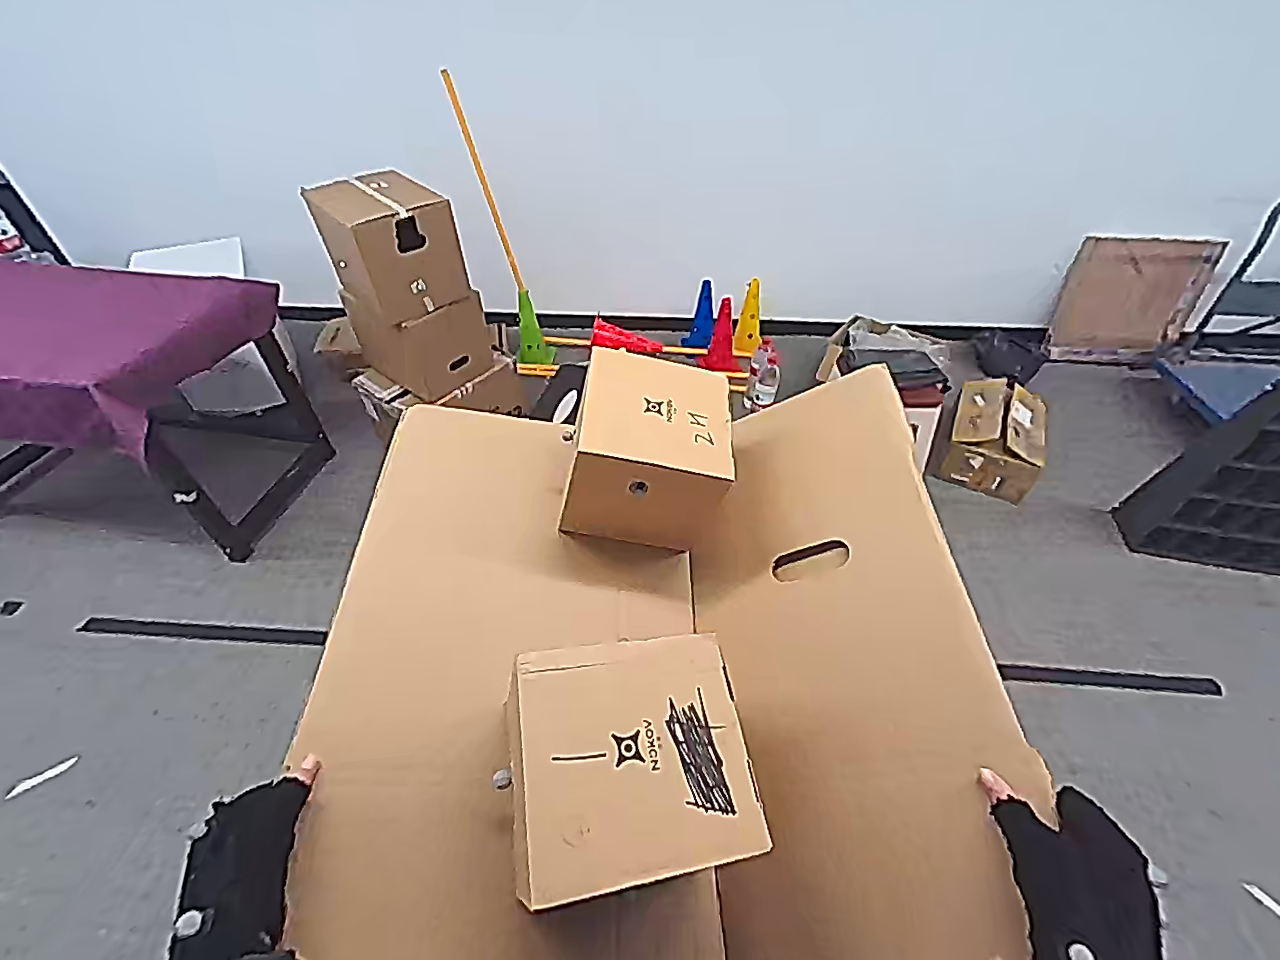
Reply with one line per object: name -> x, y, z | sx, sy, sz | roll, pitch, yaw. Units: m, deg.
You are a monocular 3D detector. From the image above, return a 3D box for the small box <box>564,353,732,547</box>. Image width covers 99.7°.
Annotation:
small box -> 0.005, -0.031, 0.695 | 0.179, 0.176, 0.168 | 12, 54, -9
